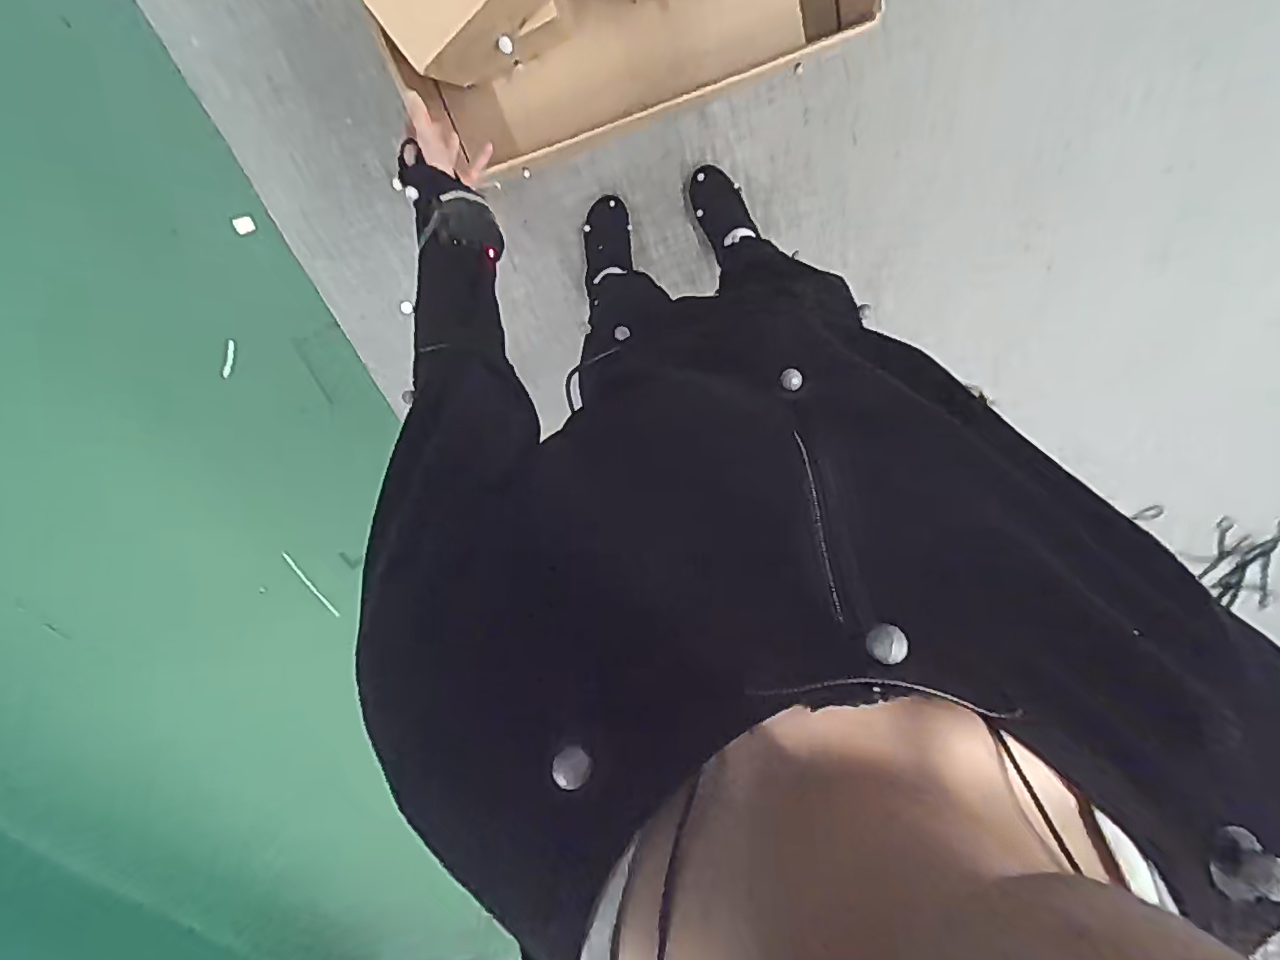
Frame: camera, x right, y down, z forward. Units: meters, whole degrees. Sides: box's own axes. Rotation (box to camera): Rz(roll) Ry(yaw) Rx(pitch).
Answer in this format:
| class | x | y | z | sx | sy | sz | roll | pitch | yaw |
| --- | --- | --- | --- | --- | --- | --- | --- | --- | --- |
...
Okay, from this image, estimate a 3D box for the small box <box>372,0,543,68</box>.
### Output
| class | x | y | z | sx | sy | sz | roll | pitch | yaw |
| --- | --- | --- | --- | --- | --- | --- | --- | --- | --- |
| small box | -0.203 | -0.557 | 0.539 | 0.168 | 0.176 | 0.179 | -30 | 118 | 18 |
